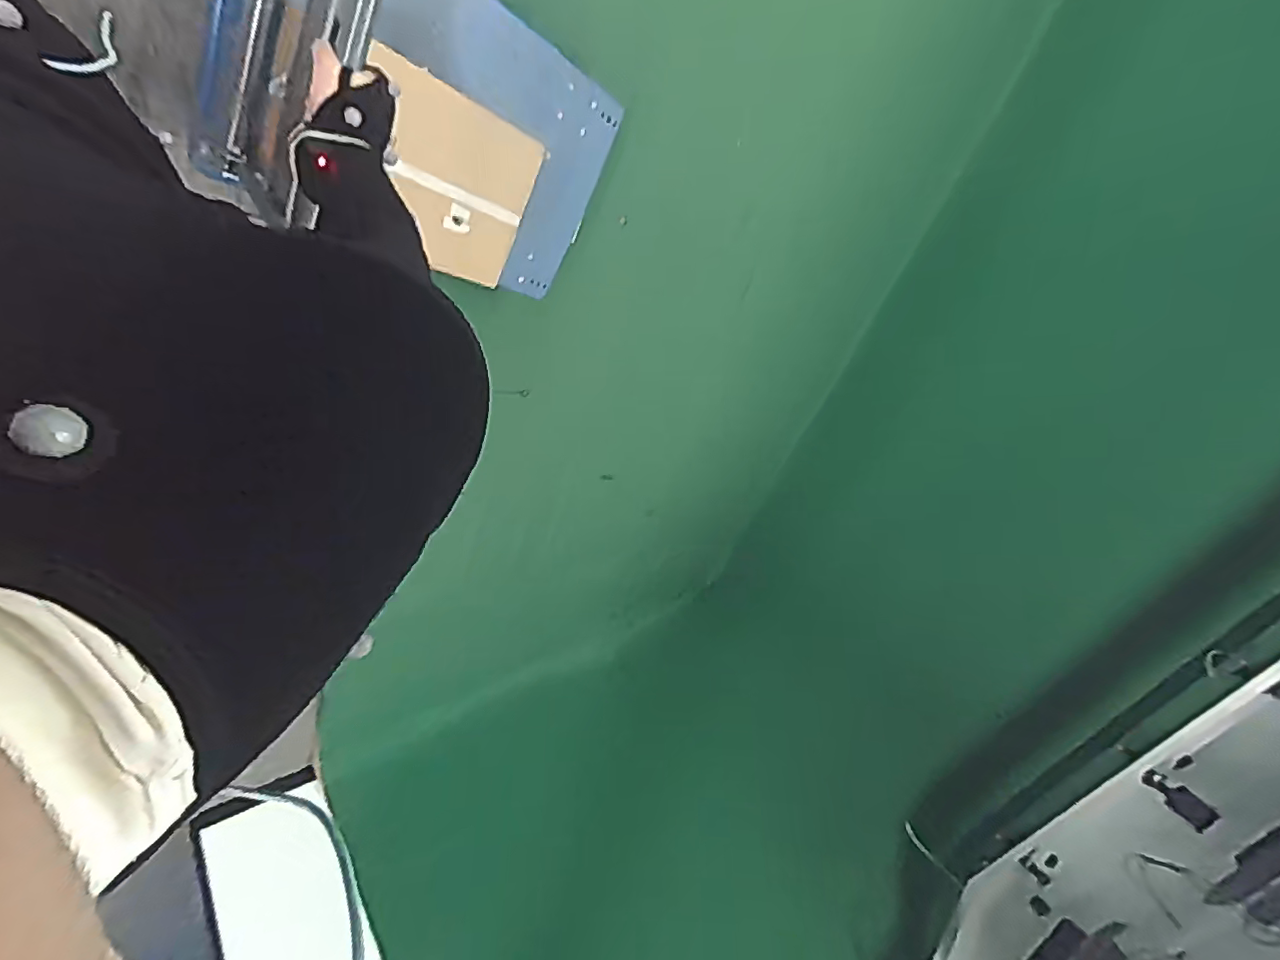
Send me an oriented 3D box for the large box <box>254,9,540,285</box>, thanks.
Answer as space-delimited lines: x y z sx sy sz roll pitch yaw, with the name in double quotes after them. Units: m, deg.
-0.494 -0.650 1.101 0.408 0.320 0.320 1 125 -51 "large box"
